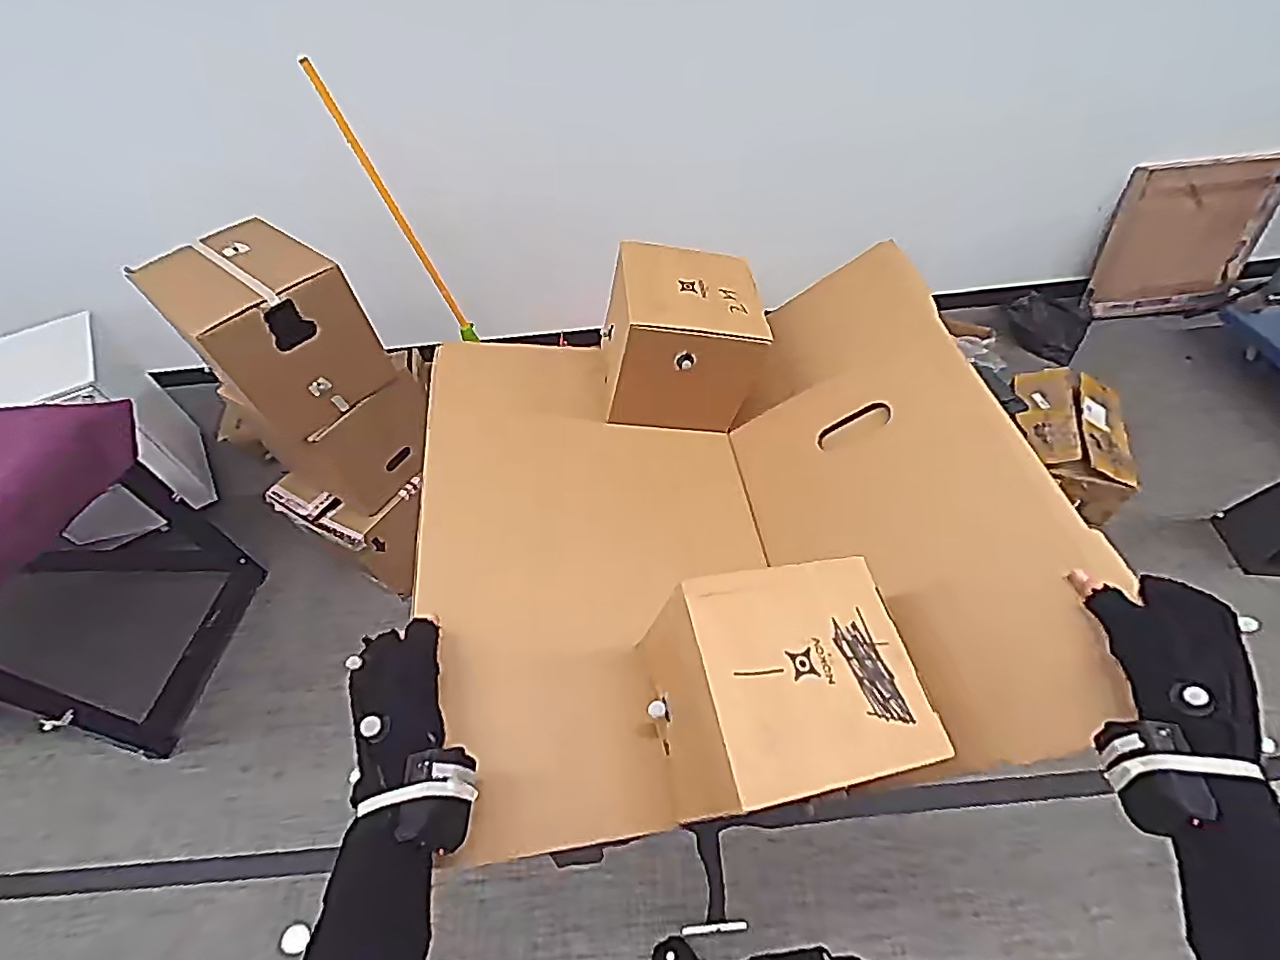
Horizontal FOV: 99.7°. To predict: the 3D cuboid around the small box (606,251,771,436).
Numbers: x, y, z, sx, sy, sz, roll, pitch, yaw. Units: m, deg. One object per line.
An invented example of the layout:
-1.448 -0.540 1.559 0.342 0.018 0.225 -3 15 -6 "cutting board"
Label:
0.049 -0.175 0.724 0.179 0.176 0.168 4 55 -12 "small box"
